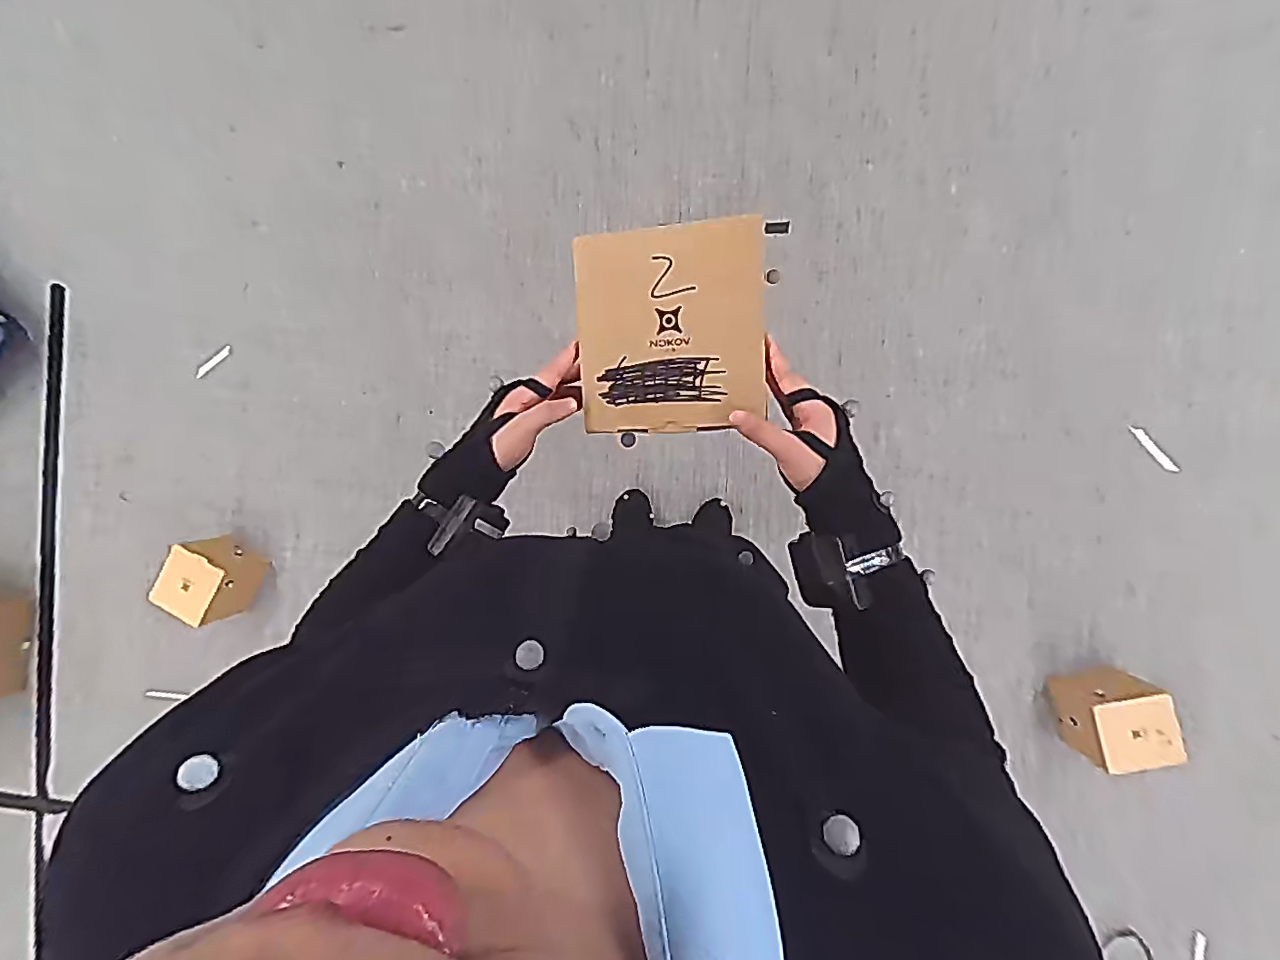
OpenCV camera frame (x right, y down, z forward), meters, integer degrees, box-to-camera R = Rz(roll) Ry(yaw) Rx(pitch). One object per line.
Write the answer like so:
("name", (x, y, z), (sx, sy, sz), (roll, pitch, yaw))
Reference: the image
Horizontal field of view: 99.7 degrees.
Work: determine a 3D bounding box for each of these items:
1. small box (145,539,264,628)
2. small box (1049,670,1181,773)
("small box", (-1.210, 0.283, 1.517), (0.168, 0.176, 0.179), (28, 92, 4))
("small box", (1.151, 0.587, 1.331), (0.179, 0.176, 0.168), (-13, 89, 4))
